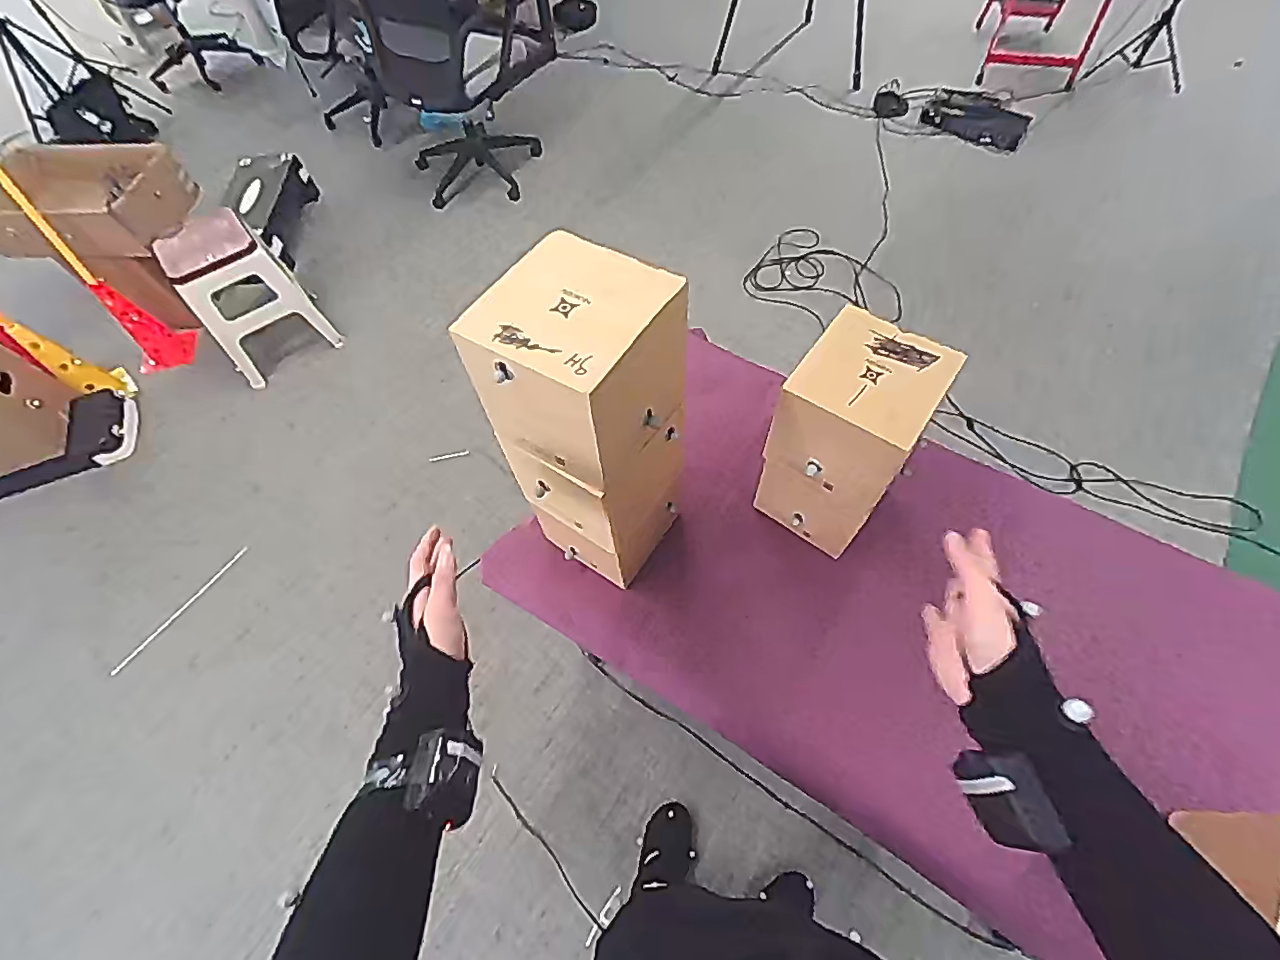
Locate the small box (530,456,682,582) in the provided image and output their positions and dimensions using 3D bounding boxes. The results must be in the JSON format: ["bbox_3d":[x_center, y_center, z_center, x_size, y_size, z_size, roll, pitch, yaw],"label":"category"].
[{"bbox_3d":[-0.048,0.032,0.870,0.168,0.176,0.179,30,66,19],"label":"small box"}]

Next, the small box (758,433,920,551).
[{"bbox_3d":[0.308,-0.017,0.875,0.168,0.176,0.179,35,69,21],"label":"small box"}]

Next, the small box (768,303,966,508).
[{"bbox_3d":[0.291,-0.096,0.731,0.168,0.176,0.179,33,69,20],"label":"small box"}]

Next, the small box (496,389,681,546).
[{"bbox_3d":[-0.056,-0.041,0.726,0.168,0.176,0.179,30,65,20],"label":"small box"}]

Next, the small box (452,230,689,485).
[{"bbox_3d":[-0.063,-0.129,0.586,0.168,0.176,0.179,28,64,19],"label":"small box"}]
